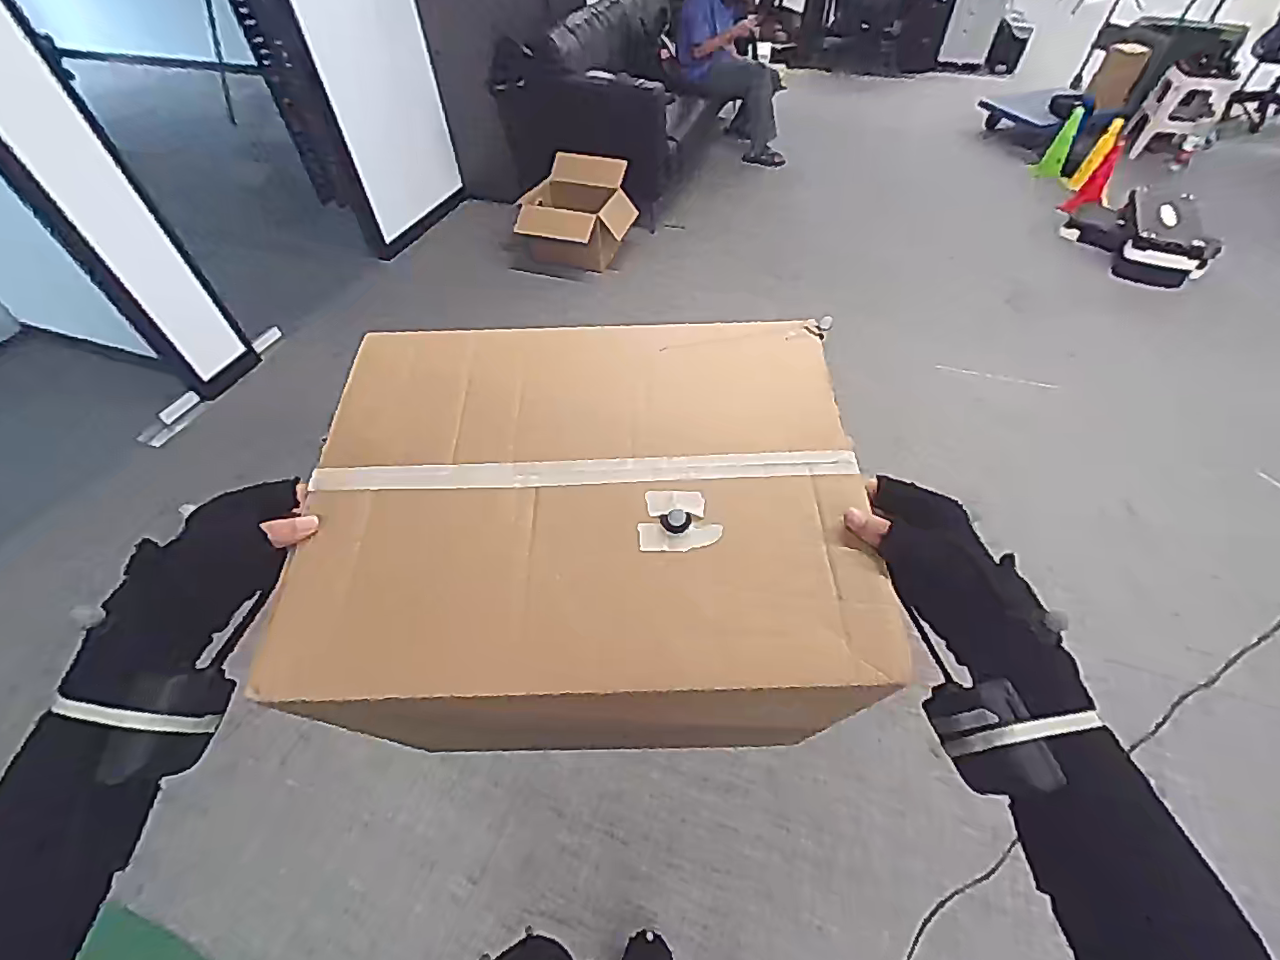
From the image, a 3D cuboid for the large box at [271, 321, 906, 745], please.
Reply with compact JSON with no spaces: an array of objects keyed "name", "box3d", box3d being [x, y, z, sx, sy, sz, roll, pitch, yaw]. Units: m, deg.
[{"name":"large box","box3d":[-0.036,0.069,0.537,0.408,0.320,0.320,-1,59,0]}]
